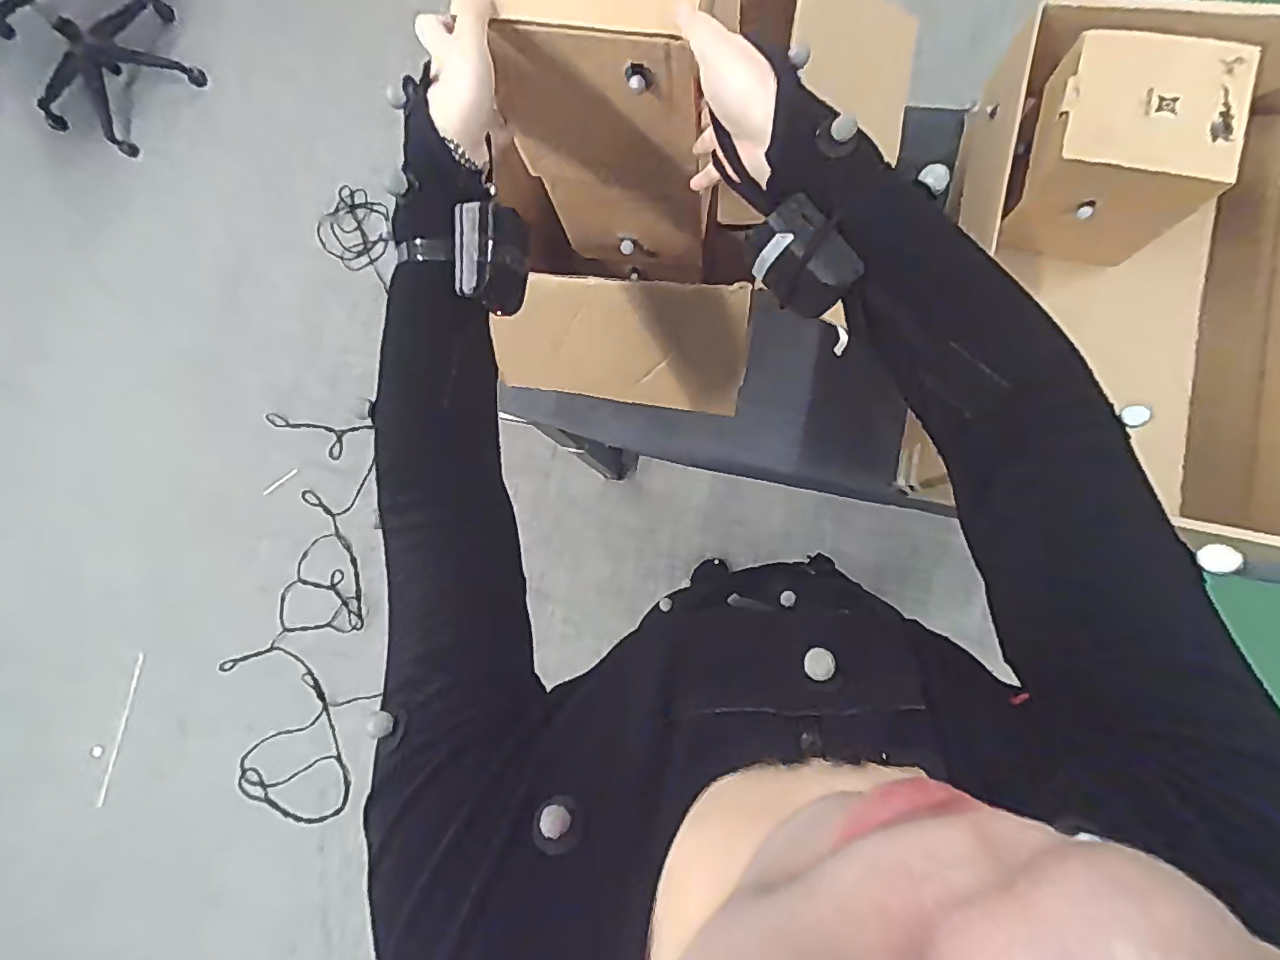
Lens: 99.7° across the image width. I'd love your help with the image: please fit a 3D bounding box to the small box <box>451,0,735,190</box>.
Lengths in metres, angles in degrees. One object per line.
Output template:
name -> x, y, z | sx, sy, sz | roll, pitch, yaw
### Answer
small box -> -0.022, -0.371, 0.447 | 0.179, 0.176, 0.168 | 12, 86, 8
